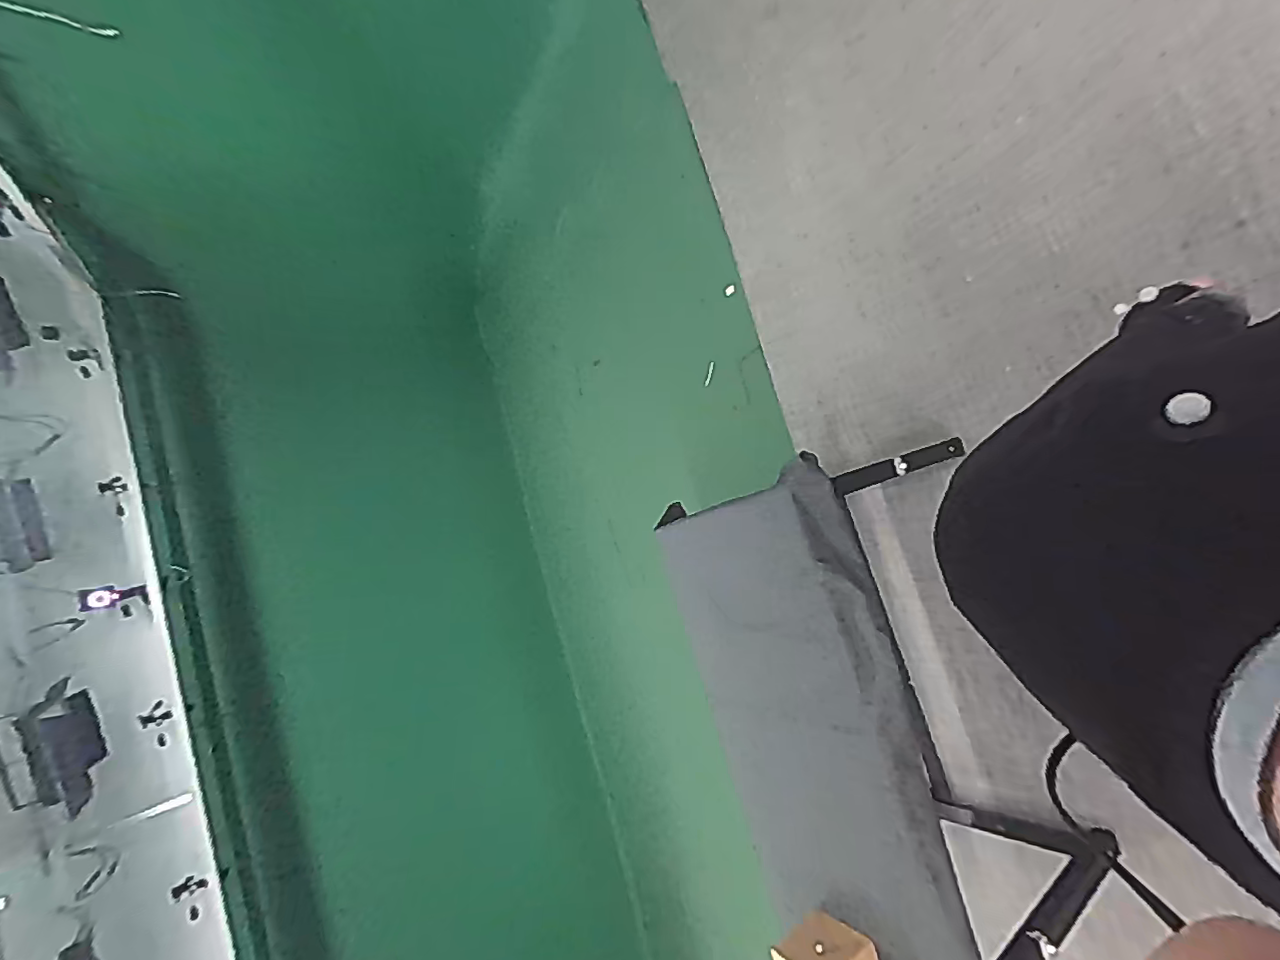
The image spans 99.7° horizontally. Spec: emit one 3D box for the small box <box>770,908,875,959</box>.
[{"bbox_3d":[0.445,1.160,1.268,0.179,0.176,0.168,-28,76,57],"label":"small box"}]
